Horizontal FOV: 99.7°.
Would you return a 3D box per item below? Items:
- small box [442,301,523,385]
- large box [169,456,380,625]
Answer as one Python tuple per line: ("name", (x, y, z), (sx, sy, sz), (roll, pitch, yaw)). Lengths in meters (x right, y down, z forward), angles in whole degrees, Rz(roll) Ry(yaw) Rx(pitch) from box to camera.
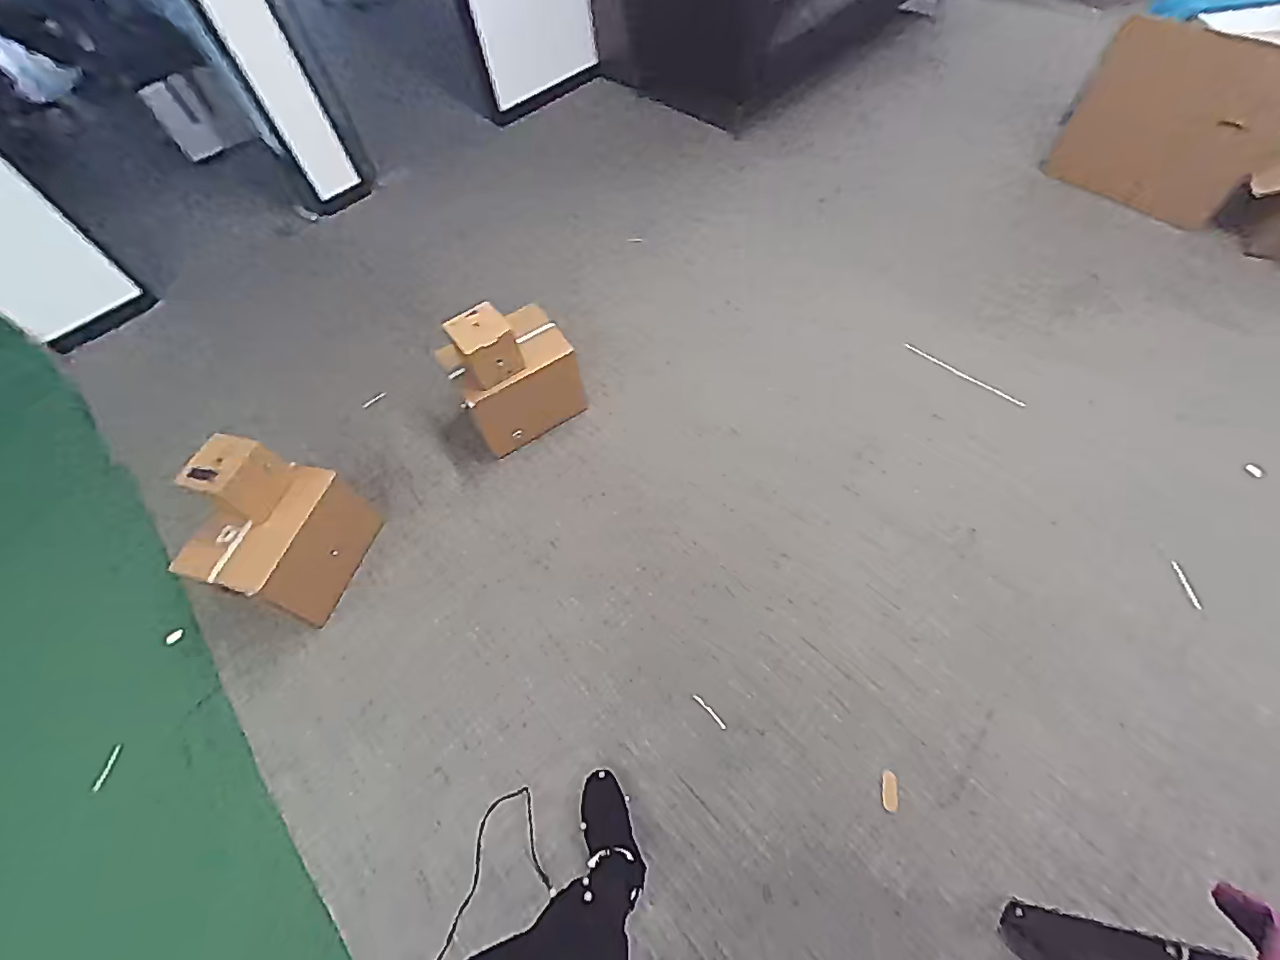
("small box", (-0.500, -0.431, 1.739), (0.168, 0.176, 0.179), (-34, 62, -15))
("large box", (-1.107, 0.191, 1.697), (0.320, 0.320, 0.408), (10, 60, 13))
